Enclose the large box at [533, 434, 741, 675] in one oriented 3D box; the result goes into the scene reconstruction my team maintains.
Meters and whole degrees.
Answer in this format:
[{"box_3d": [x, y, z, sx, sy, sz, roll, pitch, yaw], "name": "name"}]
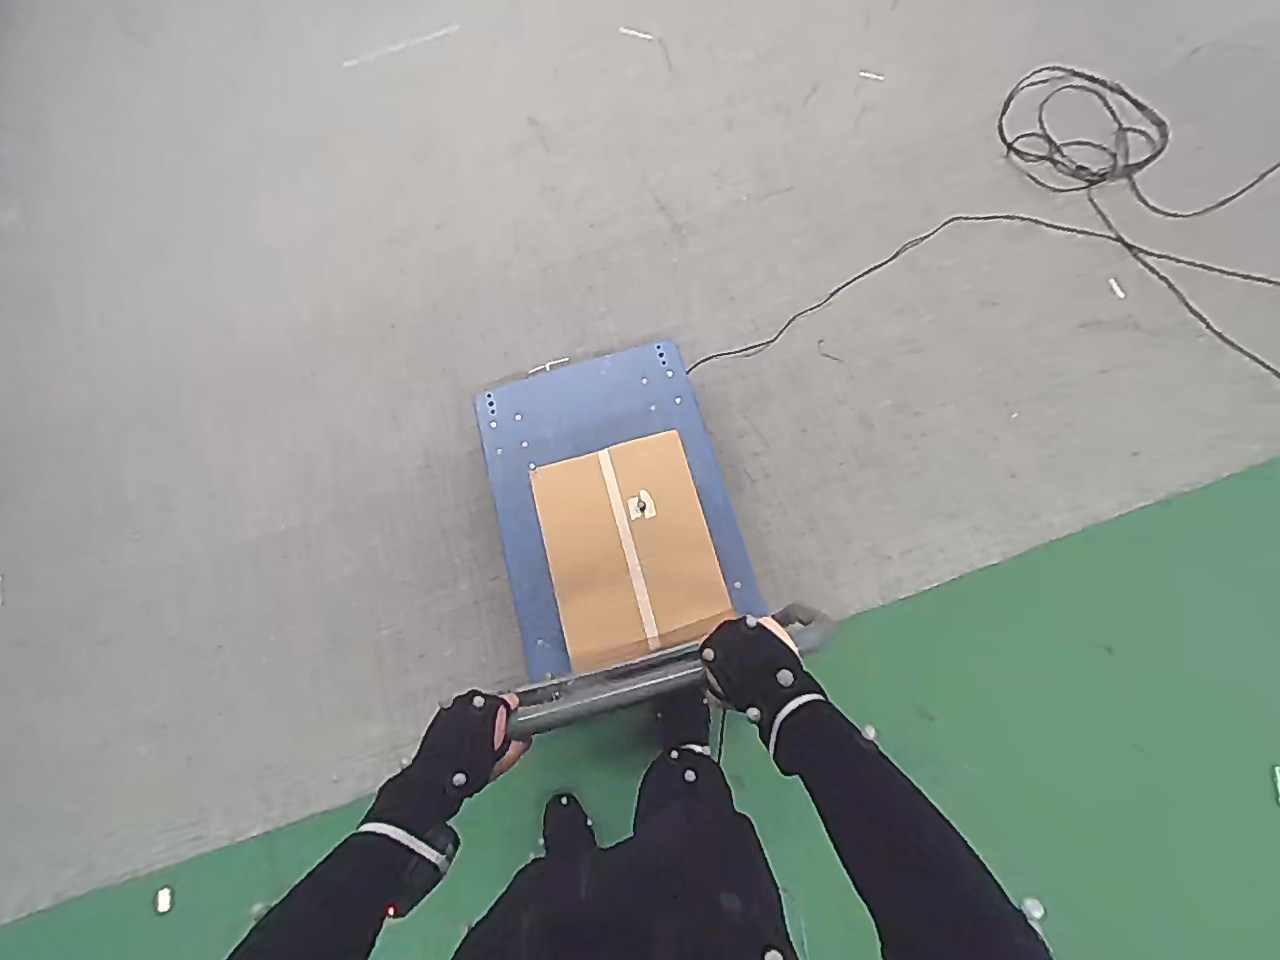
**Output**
[{"box_3d": [-0.004, 0.171, 1.167, 0.320, 0.320, 0.408, -15, 72, -1], "name": "large box"}]
